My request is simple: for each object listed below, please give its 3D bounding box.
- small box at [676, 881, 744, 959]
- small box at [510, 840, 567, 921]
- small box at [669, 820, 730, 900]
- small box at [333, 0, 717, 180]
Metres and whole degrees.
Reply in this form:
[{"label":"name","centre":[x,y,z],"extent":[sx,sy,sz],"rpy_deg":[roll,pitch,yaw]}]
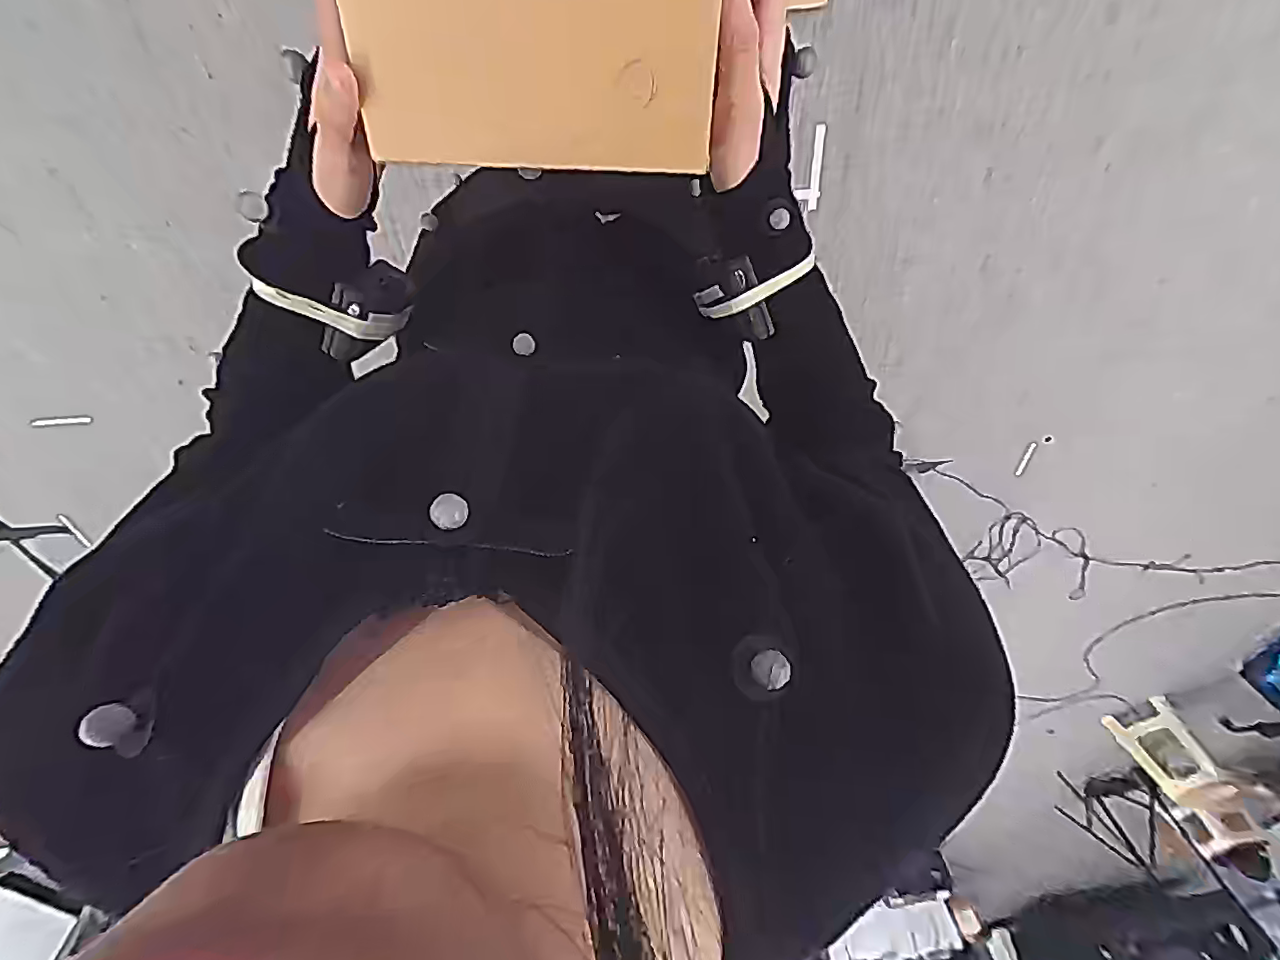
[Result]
[{"label":"small box","centre":[0.200,1.317,1.604],"extent":[0.168,0.176,0.179],"rpy_deg":[-3,130,-4]},{"label":"small box","centre":[-0.319,1.274,1.724],"extent":[0.168,0.176,0.179],"rpy_deg":[-1,129,-7]},{"label":"small box","centre":[0.185,1.214,1.731],"extent":[0.168,0.176,0.179],"rpy_deg":[-3,129,-4]},{"label":"small box","centre":[-0.042,-0.266,0.275],"extent":[0.168,0.176,0.179],"rpy_deg":[3,126,3]}]
